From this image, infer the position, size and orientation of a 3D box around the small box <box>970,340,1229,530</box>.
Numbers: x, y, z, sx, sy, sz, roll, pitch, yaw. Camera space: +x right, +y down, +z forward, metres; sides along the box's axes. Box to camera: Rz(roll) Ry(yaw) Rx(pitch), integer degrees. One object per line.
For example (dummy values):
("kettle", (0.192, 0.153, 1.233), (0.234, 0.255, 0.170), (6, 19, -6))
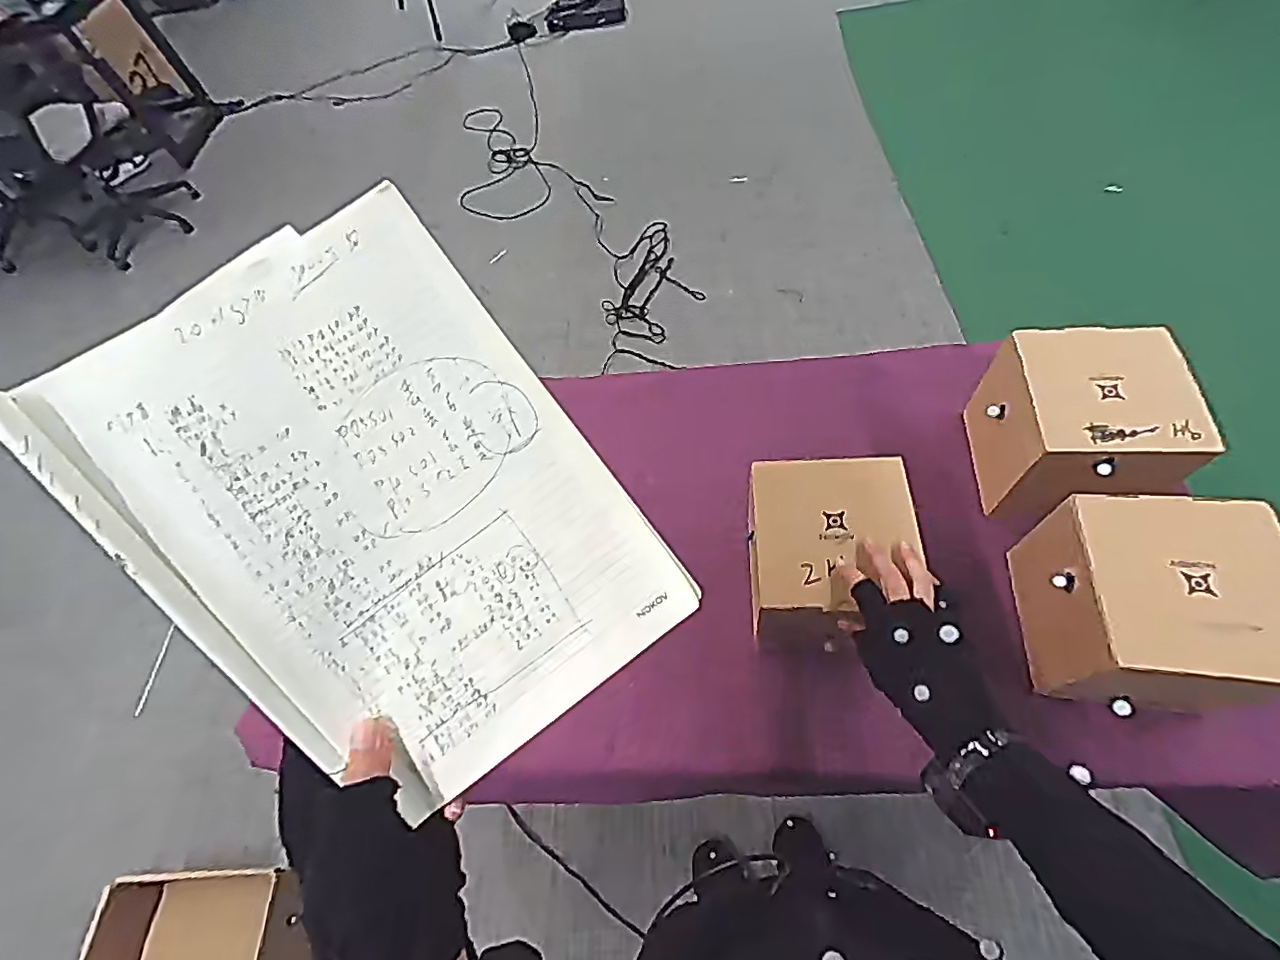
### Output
("small box", (0.535, -0.051, 0.667), (0.168, 0.176, 0.179), (2, 60, 11))

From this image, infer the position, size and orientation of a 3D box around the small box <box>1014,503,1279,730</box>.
("small box", (0.518, 0.144, 0.558), (0.168, 0.176, 0.179), (4, 61, 13))

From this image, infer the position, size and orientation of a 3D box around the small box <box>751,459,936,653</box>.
("small box", (0.219, 0.092, 0.636), (0.168, 0.176, 0.179), (-1, 60, 9))
